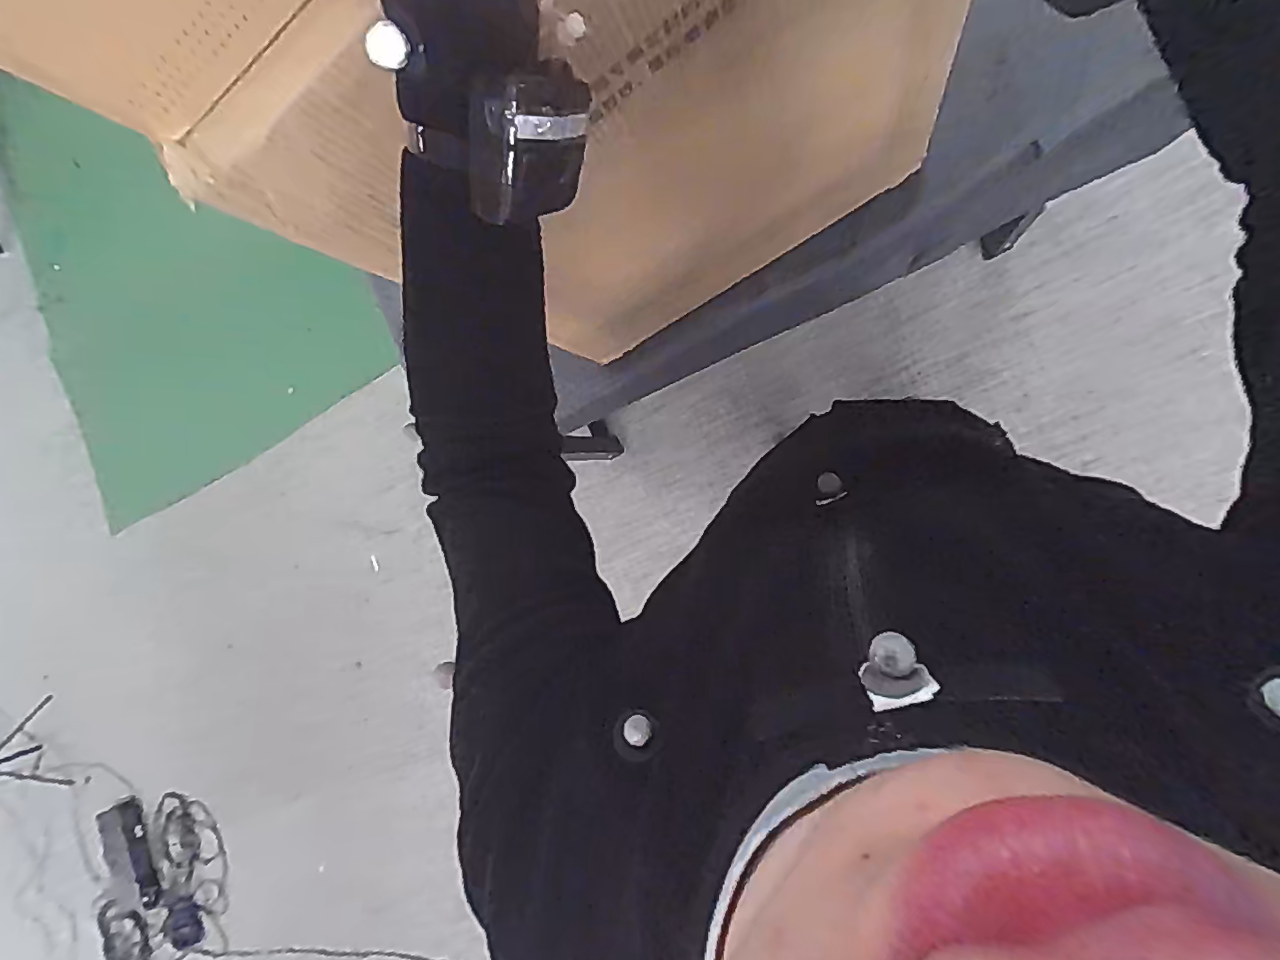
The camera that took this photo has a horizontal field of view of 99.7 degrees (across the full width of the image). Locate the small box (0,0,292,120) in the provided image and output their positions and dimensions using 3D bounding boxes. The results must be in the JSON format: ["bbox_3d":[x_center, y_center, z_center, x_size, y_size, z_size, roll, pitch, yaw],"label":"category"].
[{"bbox_3d":[-0.253,-0.298,0.212,0.179,0.176,0.168,-28,85,20],"label":"small box"}]
